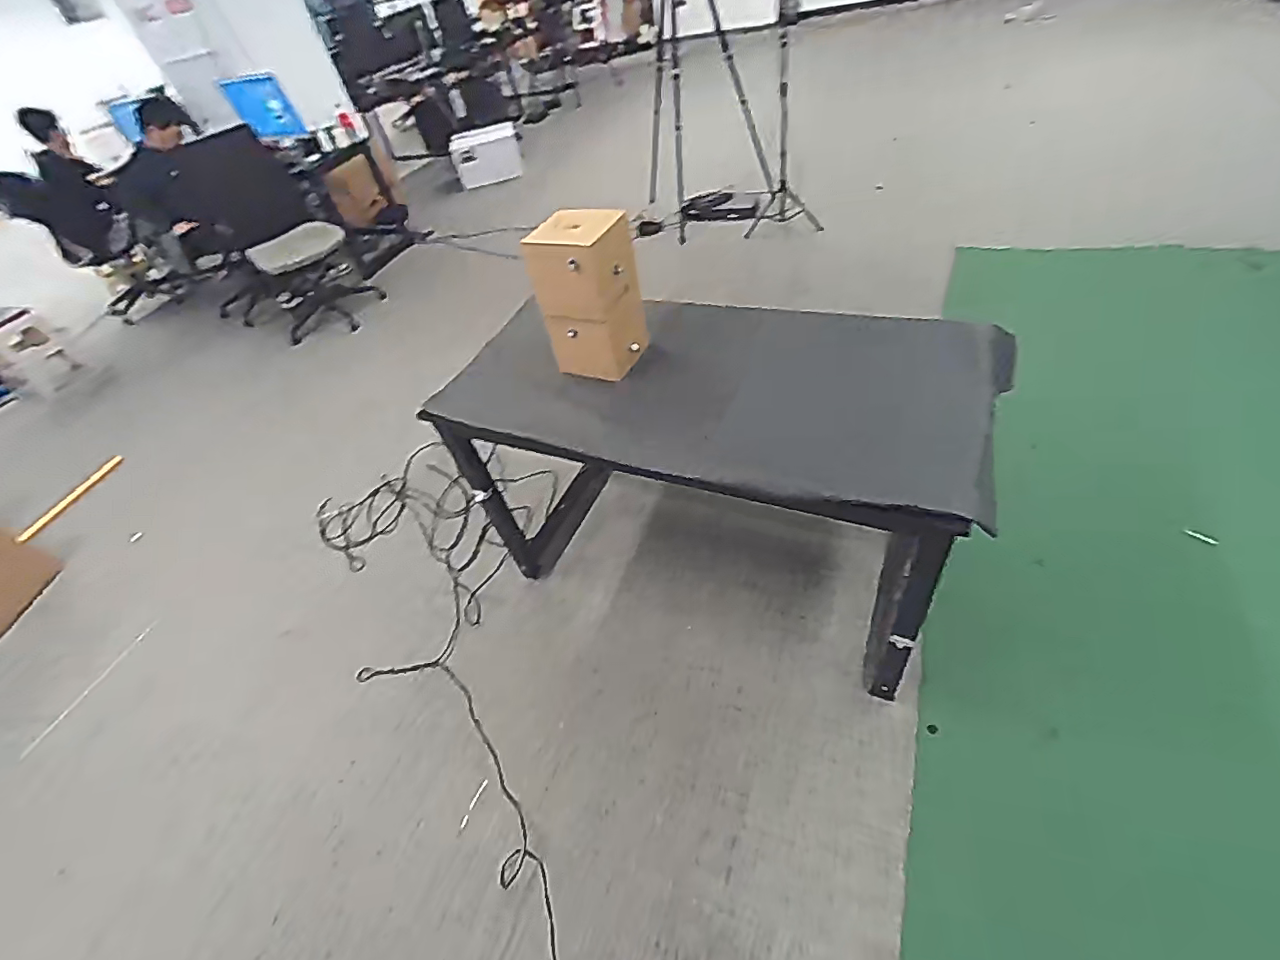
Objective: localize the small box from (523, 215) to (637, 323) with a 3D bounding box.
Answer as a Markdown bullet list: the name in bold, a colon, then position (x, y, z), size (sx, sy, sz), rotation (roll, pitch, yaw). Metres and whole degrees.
- **small box**: position (-0.122, -0.465, 1.197), size (0.179, 0.176, 0.168), rotation (14, 51, 24)

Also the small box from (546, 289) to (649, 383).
- **small box**: position (-0.098, -0.358, 1.320), size (0.179, 0.176, 0.168), rotation (15, 52, 24)
